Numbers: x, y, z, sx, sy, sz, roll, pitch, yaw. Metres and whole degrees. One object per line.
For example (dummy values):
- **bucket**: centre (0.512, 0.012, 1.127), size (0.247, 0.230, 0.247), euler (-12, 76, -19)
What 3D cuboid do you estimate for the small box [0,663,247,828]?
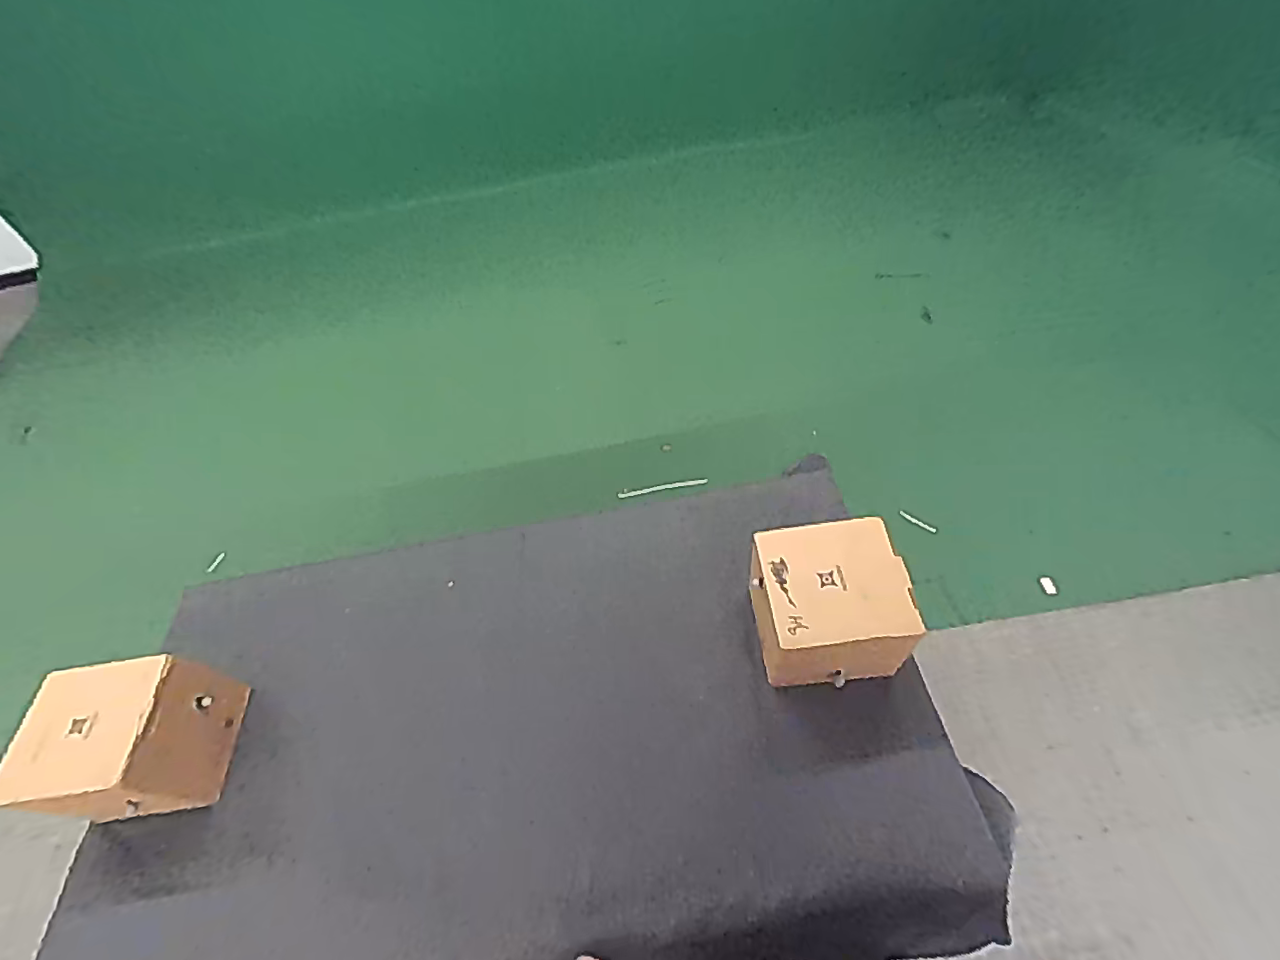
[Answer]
- **small box**: centre (-0.701, 0.370, 0.748), size (0.179, 0.176, 0.168), euler (-8, 50, 2)

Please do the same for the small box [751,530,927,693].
- **small box**: centre (0.262, 0.189, 0.760), size (0.179, 0.176, 0.168), euler (-7, 53, 3)
